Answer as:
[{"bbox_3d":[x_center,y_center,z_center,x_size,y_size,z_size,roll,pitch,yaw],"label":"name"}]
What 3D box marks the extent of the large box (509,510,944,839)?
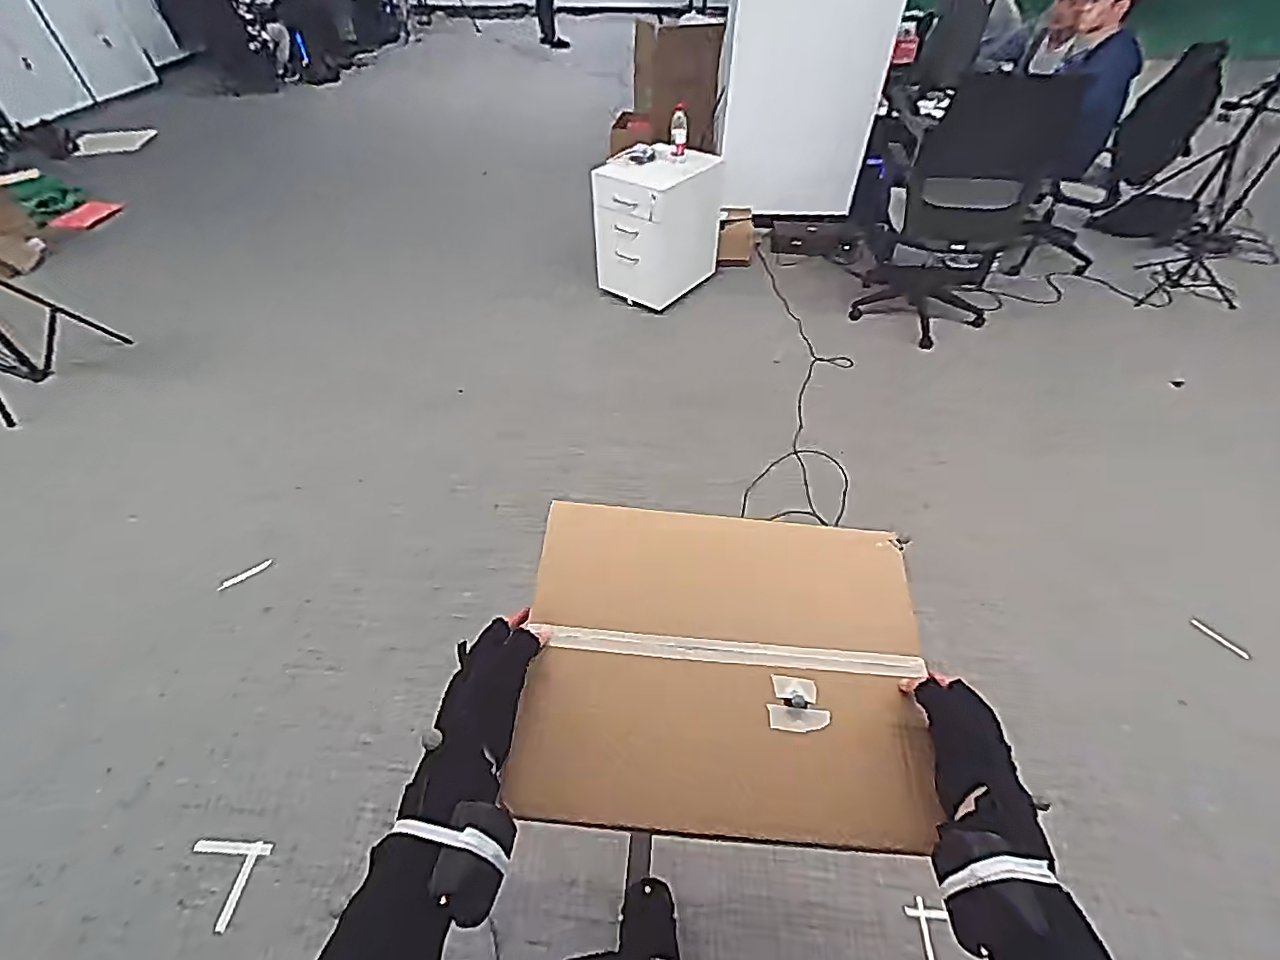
[{"bbox_3d":[0.077,0.259,0.687,0.408,0.320,0.320,5,57,-1],"label":"large box"}]
